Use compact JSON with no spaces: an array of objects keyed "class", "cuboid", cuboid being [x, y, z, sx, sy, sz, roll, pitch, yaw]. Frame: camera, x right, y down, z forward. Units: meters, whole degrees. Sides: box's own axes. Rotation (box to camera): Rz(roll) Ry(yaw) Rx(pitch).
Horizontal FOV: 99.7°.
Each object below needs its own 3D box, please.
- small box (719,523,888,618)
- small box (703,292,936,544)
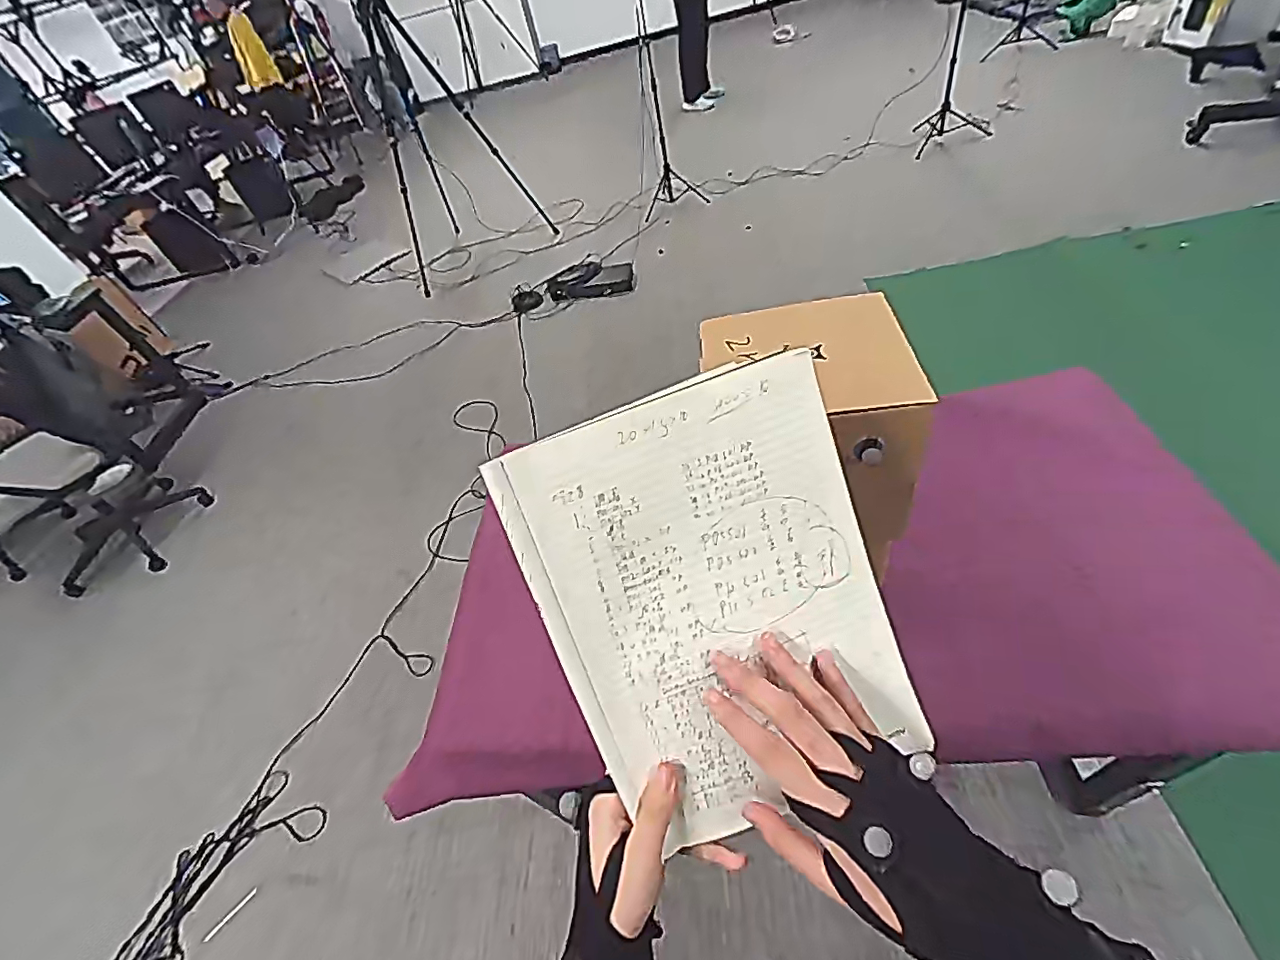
[{"class":"small box","cuboid":[0.183,0.053,0.650,0.168,0.176,0.179,-7,46,10]},{"class":"small box","cuboid":[0.157,-0.054,0.526,0.179,0.176,0.168,-6,46,11]}]
